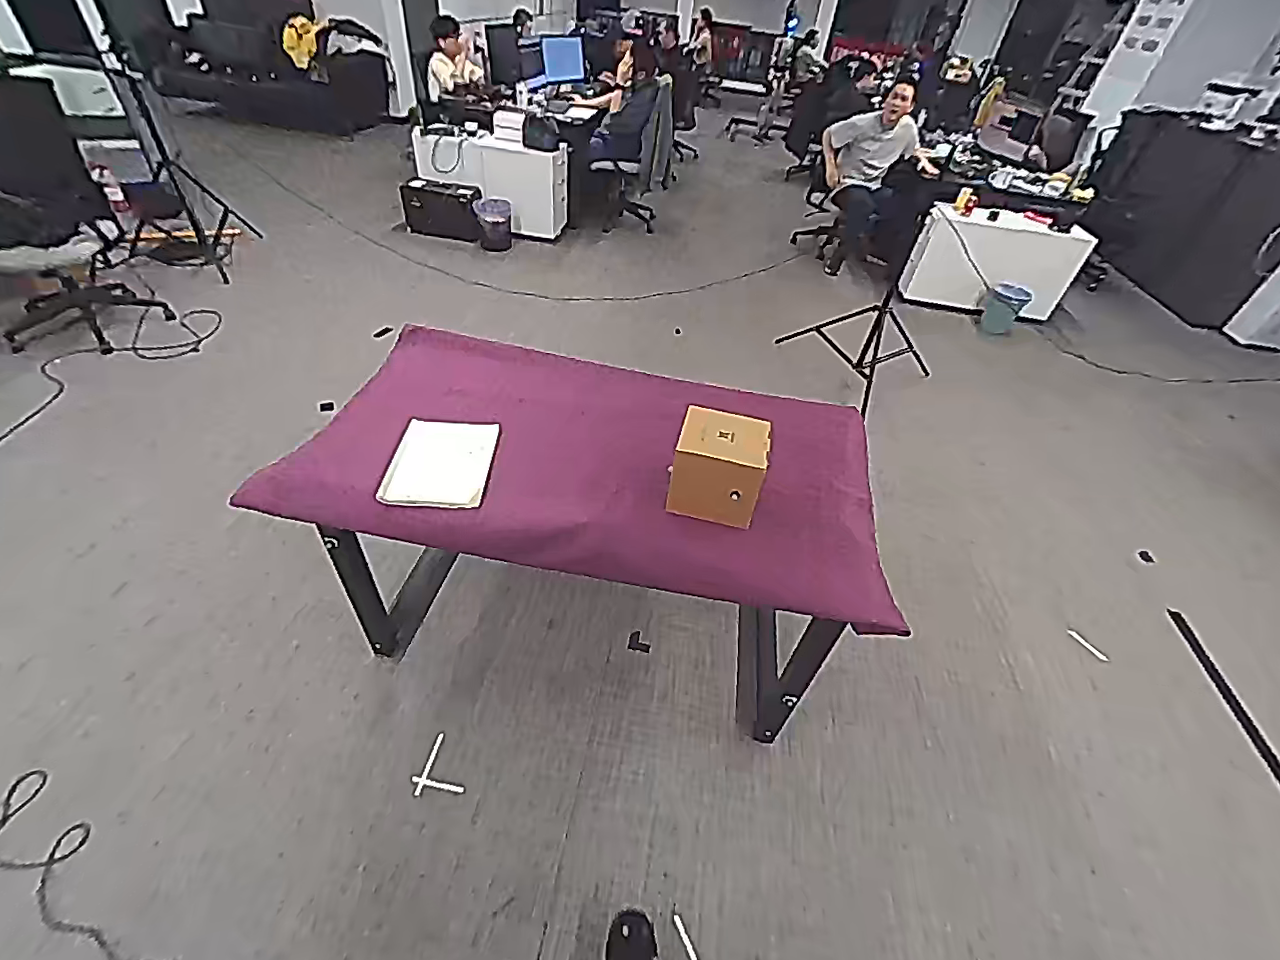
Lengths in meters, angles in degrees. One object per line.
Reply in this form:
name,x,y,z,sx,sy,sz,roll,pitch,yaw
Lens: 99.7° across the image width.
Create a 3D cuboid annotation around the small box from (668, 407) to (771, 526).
small box,0.164,-0.025,1.125,0.179,0.176,0.168,11,40,7
